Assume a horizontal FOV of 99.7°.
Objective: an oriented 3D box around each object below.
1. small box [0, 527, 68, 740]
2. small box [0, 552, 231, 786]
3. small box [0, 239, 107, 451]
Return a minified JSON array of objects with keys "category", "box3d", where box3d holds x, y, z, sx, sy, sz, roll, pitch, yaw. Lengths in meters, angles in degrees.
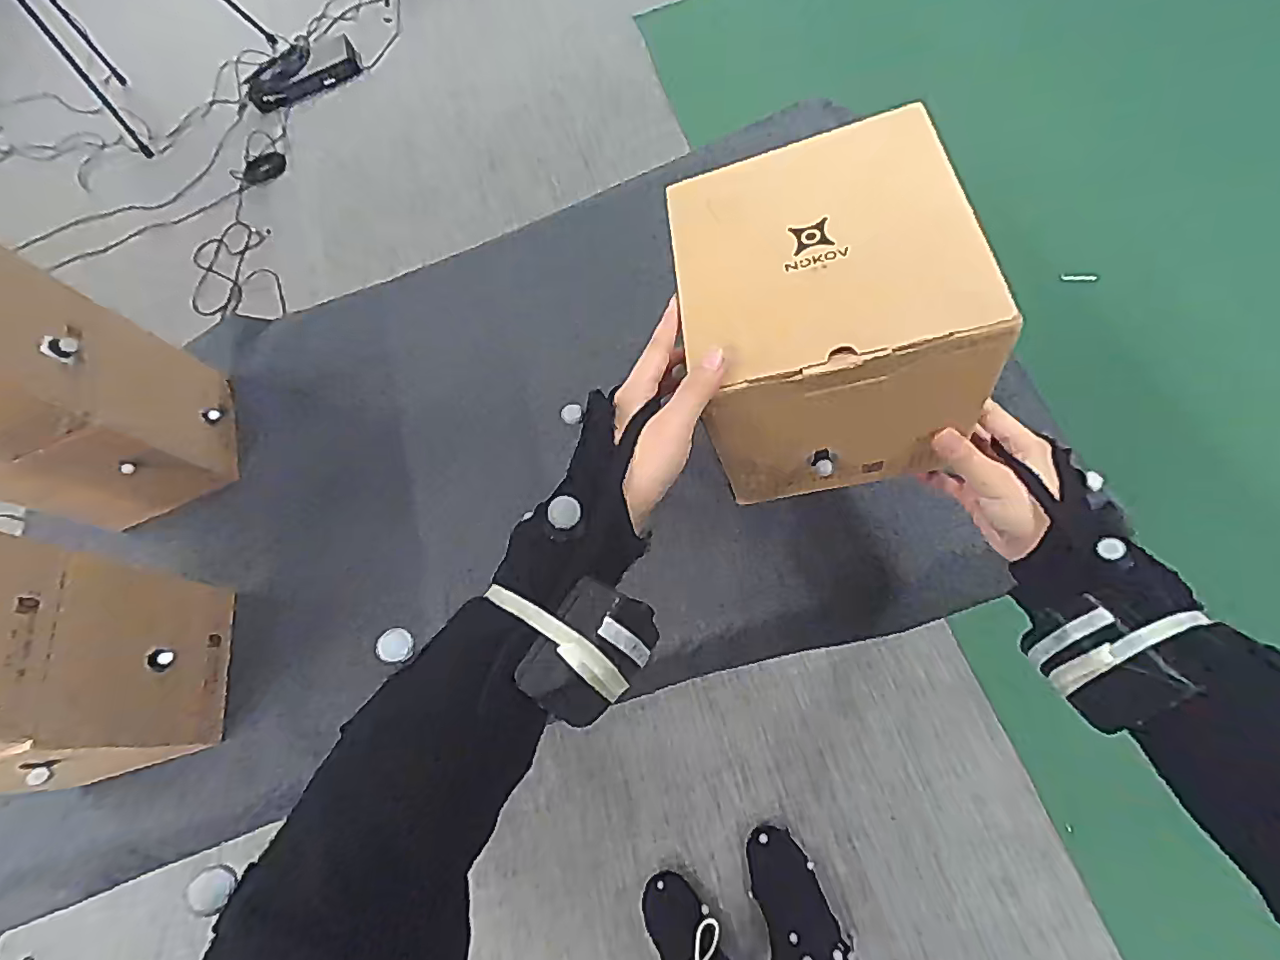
[{"category":"small box","box3d":[-0.583,0.122,0.381,0.179,0.176,0.168,-21,64,3]},{"category":"small box","box3d":[-0.546,0.188,0.526,0.179,0.176,0.168,-17,64,4]},{"category":"small box","box3d":[-0.663,-0.128,0.501,0.179,0.176,0.168,-22,68,1]}]
